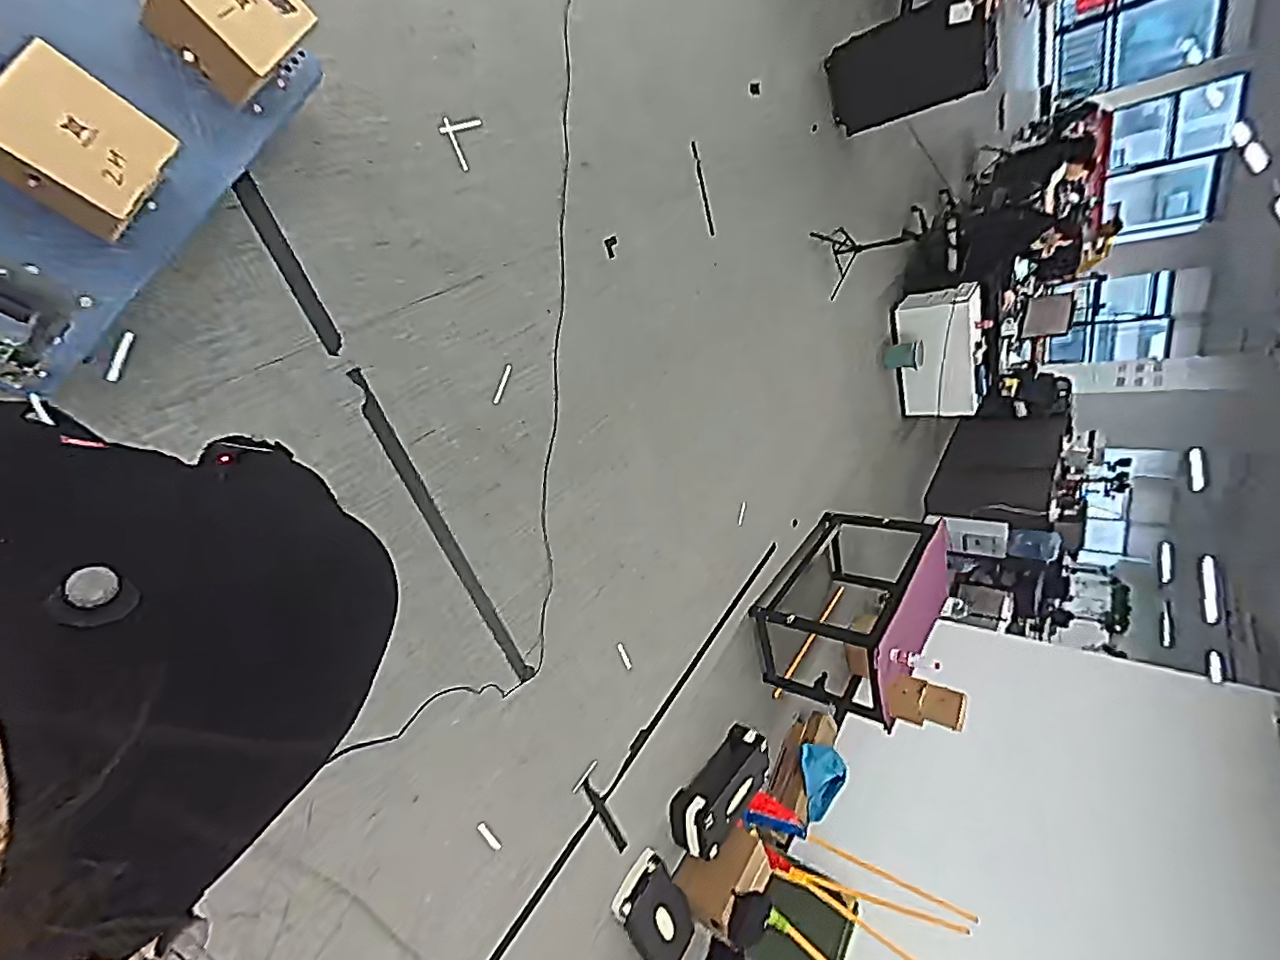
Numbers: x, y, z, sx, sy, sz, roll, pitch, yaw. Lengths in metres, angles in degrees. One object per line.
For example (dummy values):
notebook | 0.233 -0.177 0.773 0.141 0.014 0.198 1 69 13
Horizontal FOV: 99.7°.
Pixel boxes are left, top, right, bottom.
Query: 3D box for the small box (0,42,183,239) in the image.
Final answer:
small box | -0.873 -0.509 0.841 0.179 0.176 0.168 37 67 -45

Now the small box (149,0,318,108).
small box | -0.730 -0.821 0.969 0.168 0.176 0.179 43 64 -43
